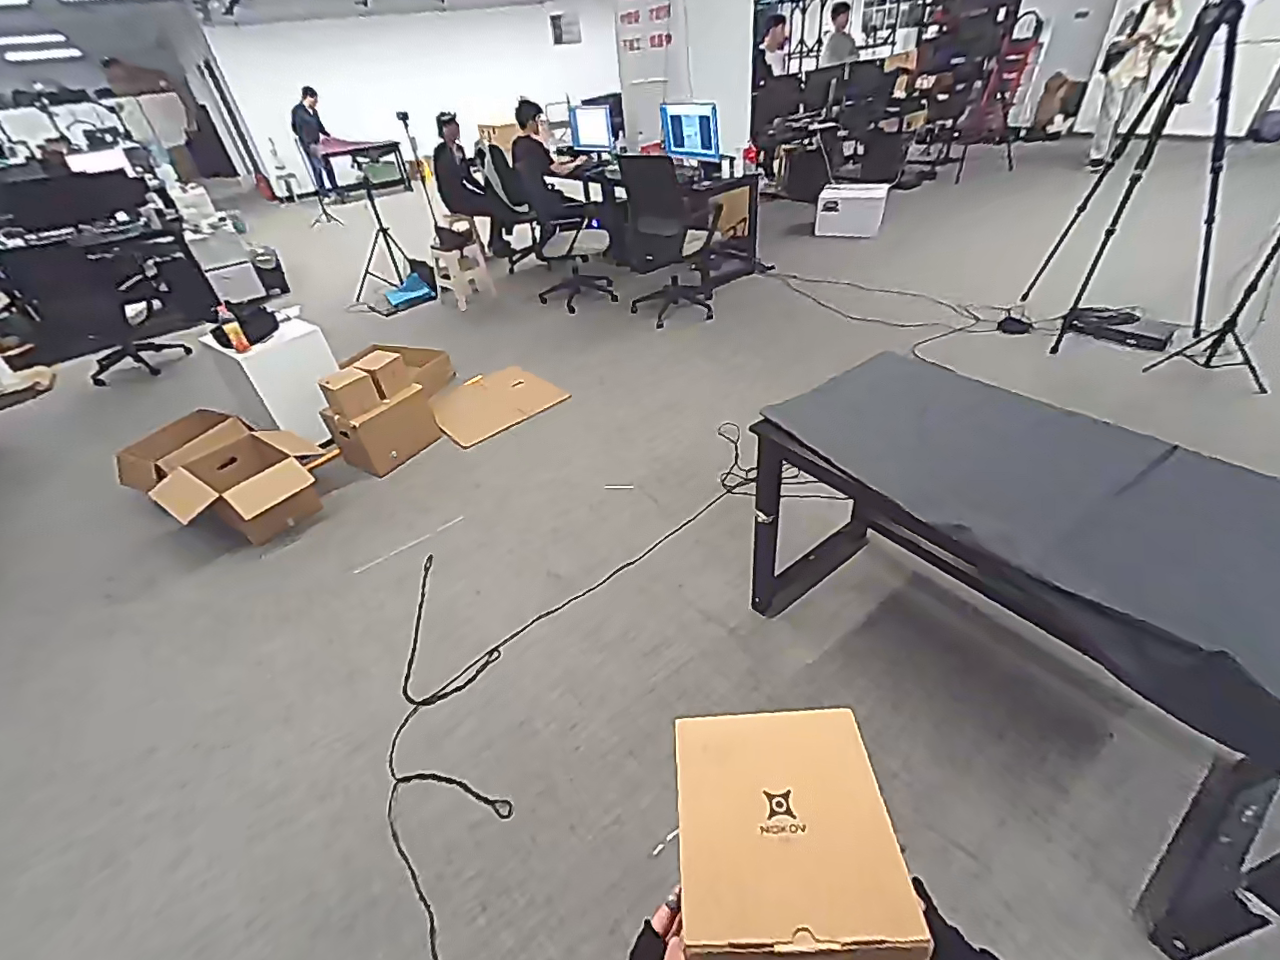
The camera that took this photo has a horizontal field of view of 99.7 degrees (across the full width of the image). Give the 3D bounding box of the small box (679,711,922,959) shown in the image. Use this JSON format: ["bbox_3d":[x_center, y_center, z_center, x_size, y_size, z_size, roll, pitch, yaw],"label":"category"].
[{"bbox_3d":[0.124,0.338,0.487,0.168,0.176,0.179,-6,32,5],"label":"small box"}]
